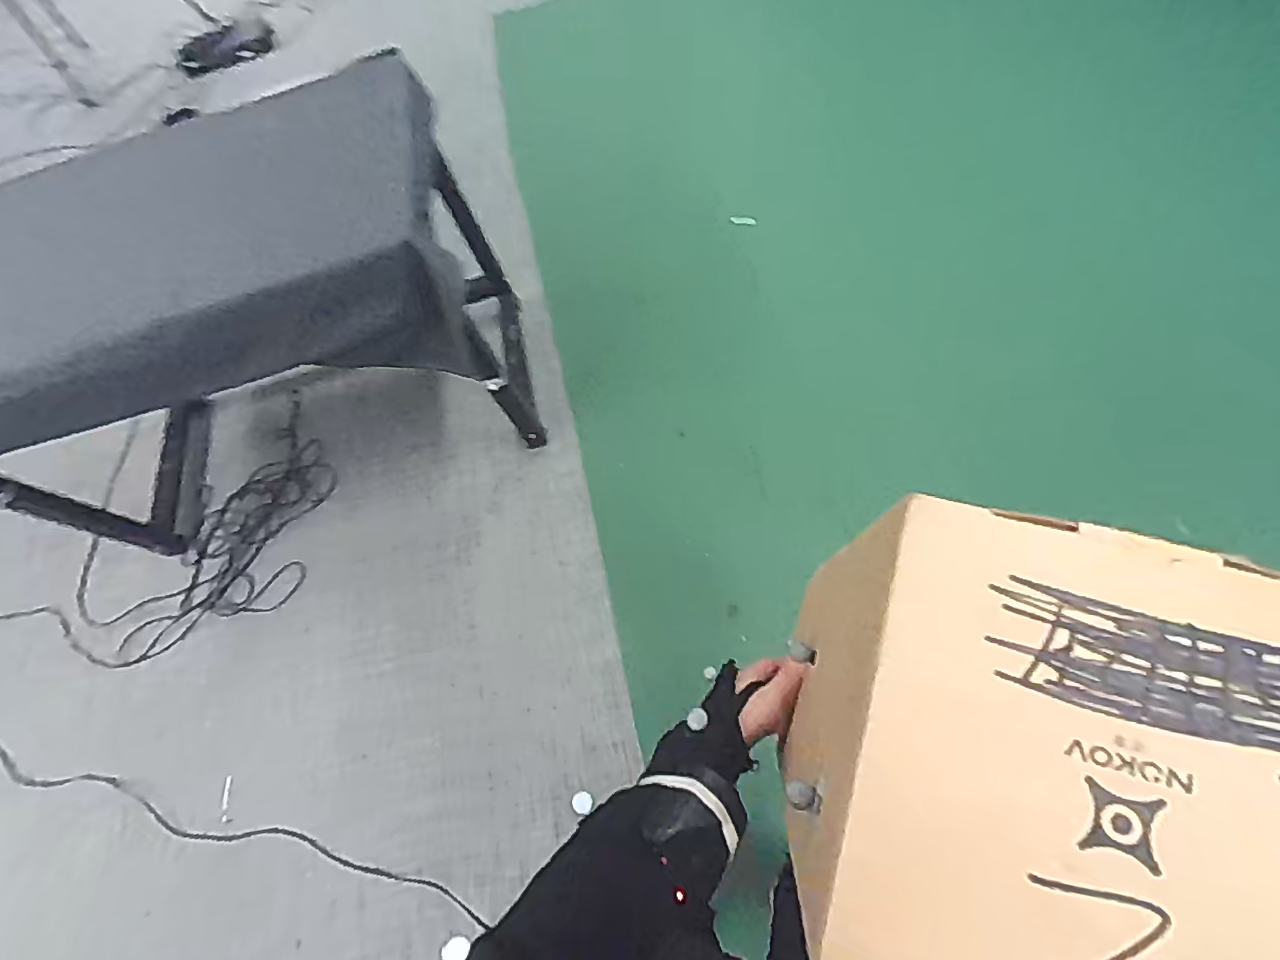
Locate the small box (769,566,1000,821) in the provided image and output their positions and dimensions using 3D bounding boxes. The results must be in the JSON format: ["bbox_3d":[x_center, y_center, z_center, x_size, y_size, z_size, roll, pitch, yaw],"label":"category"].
[{"bbox_3d":[0.236,0.205,0.565,0.168,0.176,0.179,16,79,15],"label":"small box"}]
